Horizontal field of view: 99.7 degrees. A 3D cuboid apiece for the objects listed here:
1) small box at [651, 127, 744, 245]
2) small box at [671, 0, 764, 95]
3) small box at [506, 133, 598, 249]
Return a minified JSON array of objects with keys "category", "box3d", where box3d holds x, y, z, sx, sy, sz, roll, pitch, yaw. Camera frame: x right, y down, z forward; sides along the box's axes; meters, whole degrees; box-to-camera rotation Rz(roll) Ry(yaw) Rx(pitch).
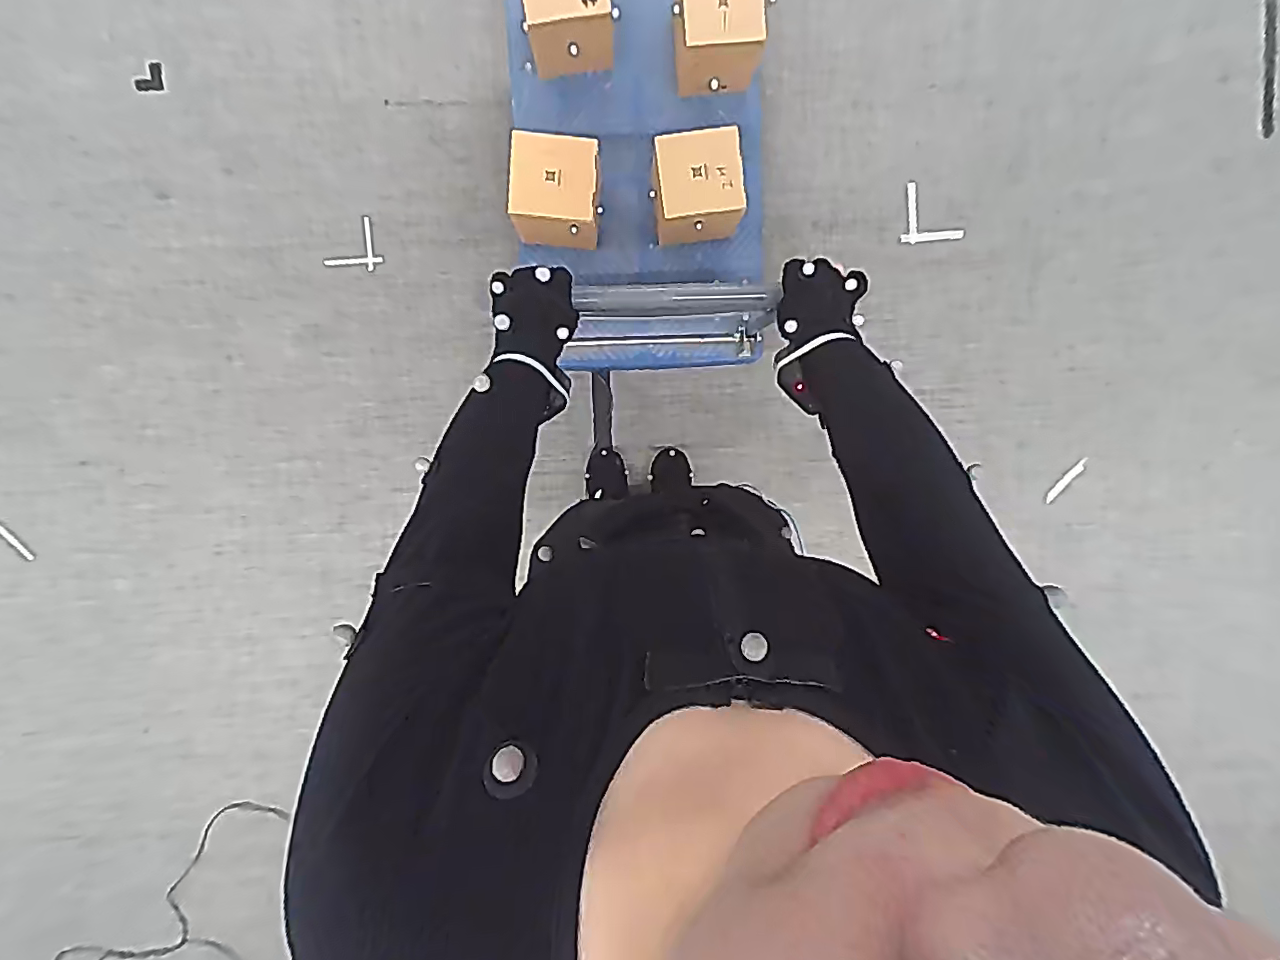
[{"category":"small box","box3d":[0.119,-0.633,1.185,0.179,0.176,0.168,-8,95,-1]},{"category":"small box","box3d":[0.159,-0.969,1.157,0.168,0.176,0.179,-5,96,-1]},{"category":"small box","box3d":[-0.185,-0.620,1.177,0.179,0.176,0.168,3,94,-4]}]
